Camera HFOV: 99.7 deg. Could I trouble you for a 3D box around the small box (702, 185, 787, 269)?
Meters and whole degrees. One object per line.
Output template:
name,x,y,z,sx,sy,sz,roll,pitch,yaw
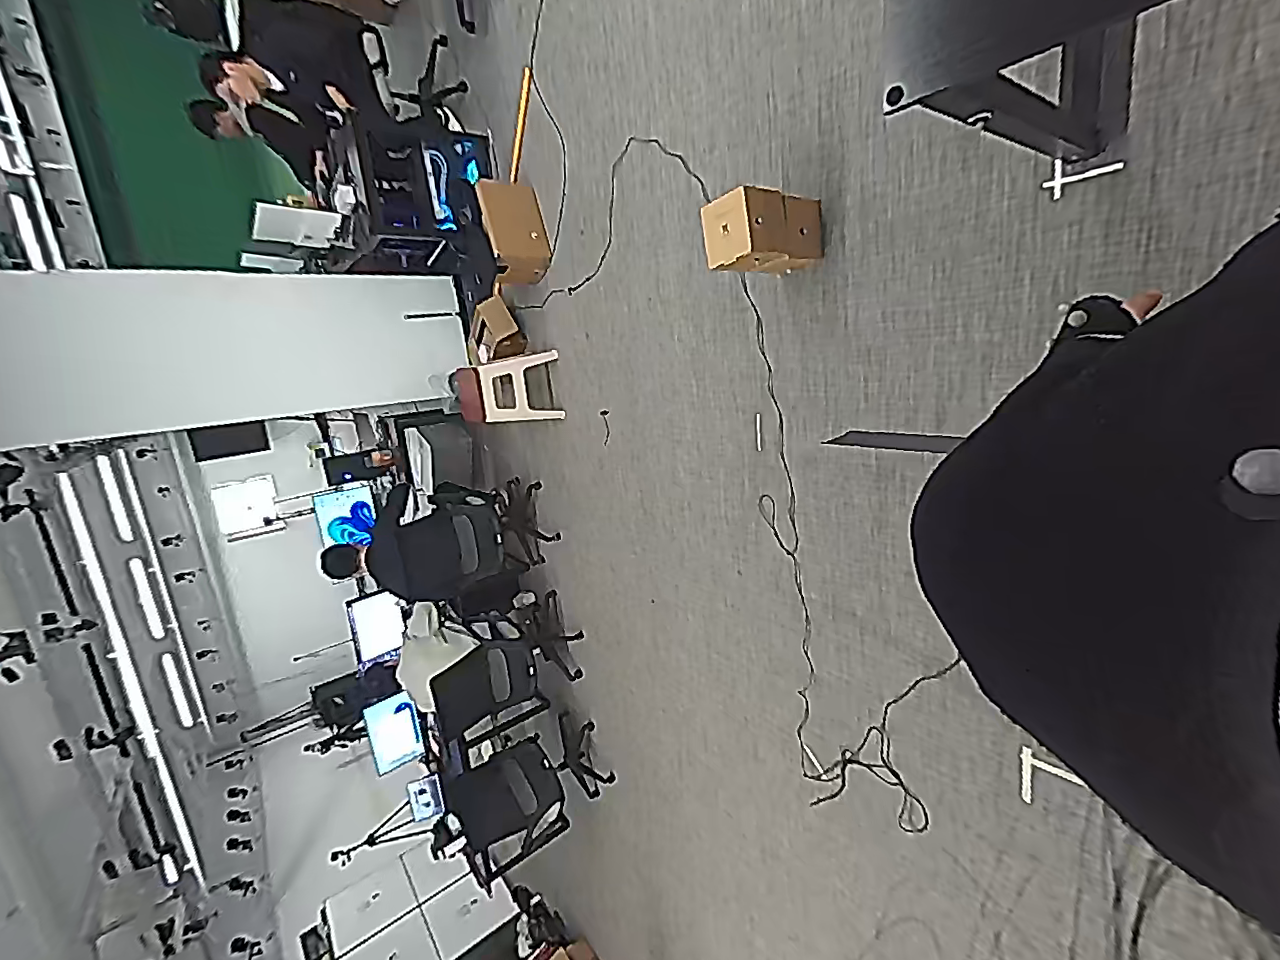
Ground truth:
small box,0.302,-0.714,1.544,0.168,0.176,0.179,1,102,53

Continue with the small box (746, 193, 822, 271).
small box,0.432,-0.743,1.638,0.168,0.176,0.179,6,107,53
